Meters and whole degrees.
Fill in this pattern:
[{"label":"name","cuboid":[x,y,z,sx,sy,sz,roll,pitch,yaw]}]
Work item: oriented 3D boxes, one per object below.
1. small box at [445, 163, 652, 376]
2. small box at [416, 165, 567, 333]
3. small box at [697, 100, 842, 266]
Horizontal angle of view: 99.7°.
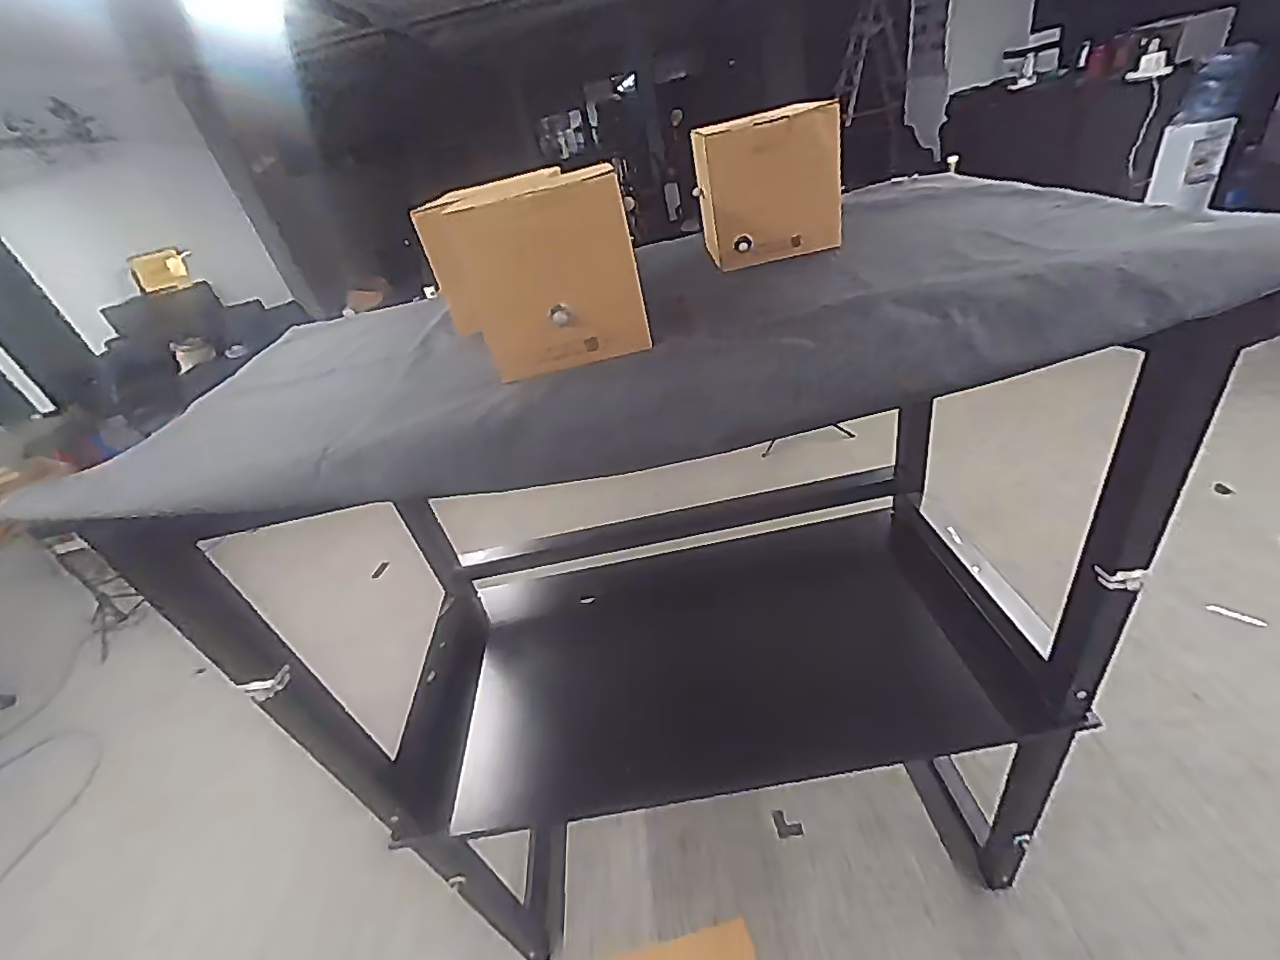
[{"label":"small box","cuboid":[-0.086,-0.232,0.593,0.168,0.176,0.179,-12,33,3]},{"label":"small box","cuboid":[-0.177,-0.329,0.772,0.179,0.176,0.168,-9,34,8]},{"label":"small box","cuboid":[0.180,-0.413,0.763,0.168,0.176,0.179,-10,33,6]}]
